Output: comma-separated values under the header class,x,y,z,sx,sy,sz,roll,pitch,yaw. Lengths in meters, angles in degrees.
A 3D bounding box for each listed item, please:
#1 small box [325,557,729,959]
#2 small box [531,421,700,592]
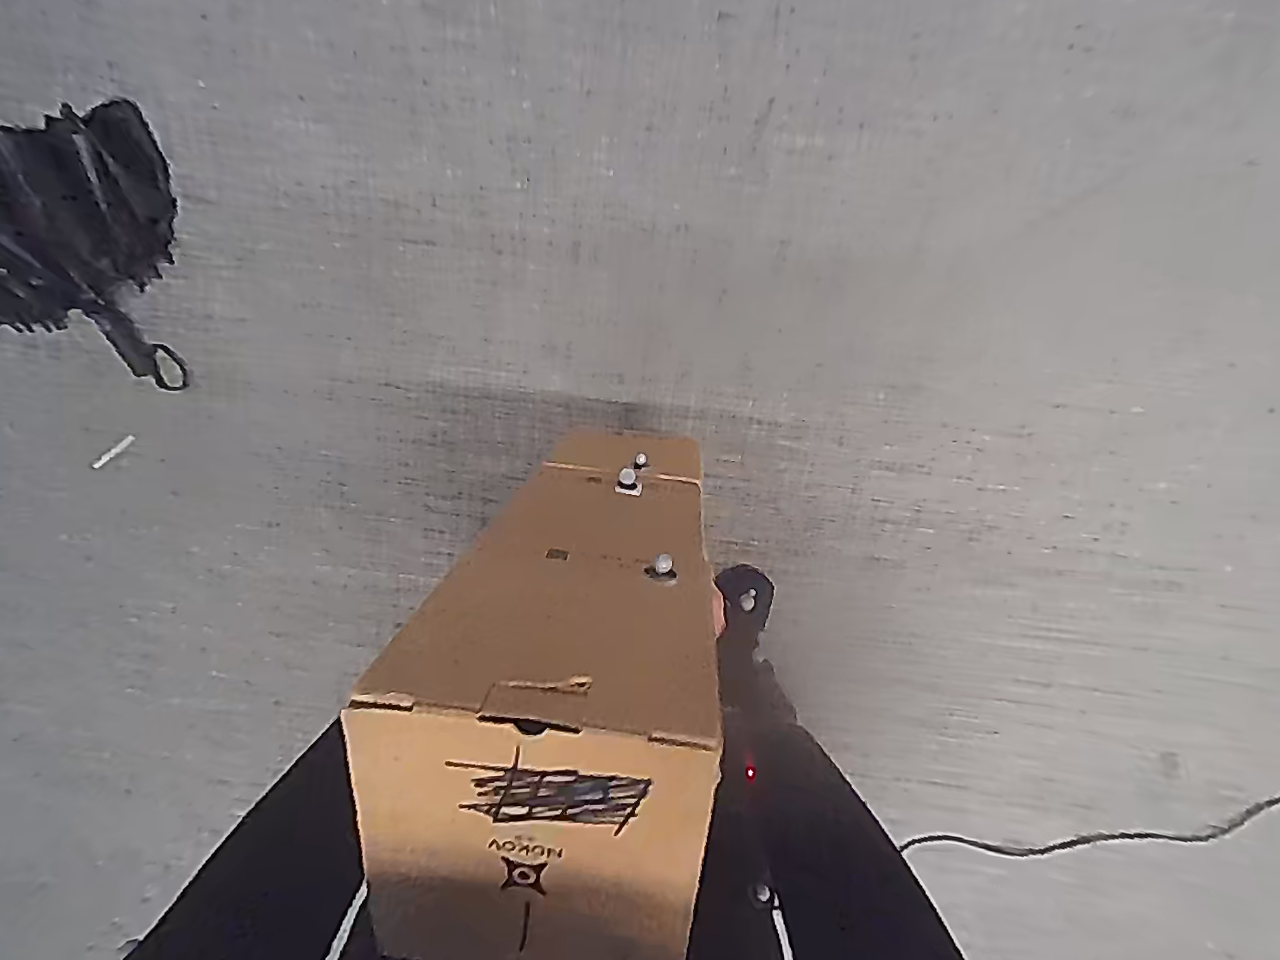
class,x,y,z,sx,sy,sz,roll,pitch,yaw
small box,-0.047,0.164,0.318,0.168,0.176,0.179,6,112,3
small box,-0.022,0.045,0.623,0.168,0.176,0.179,7,112,3
